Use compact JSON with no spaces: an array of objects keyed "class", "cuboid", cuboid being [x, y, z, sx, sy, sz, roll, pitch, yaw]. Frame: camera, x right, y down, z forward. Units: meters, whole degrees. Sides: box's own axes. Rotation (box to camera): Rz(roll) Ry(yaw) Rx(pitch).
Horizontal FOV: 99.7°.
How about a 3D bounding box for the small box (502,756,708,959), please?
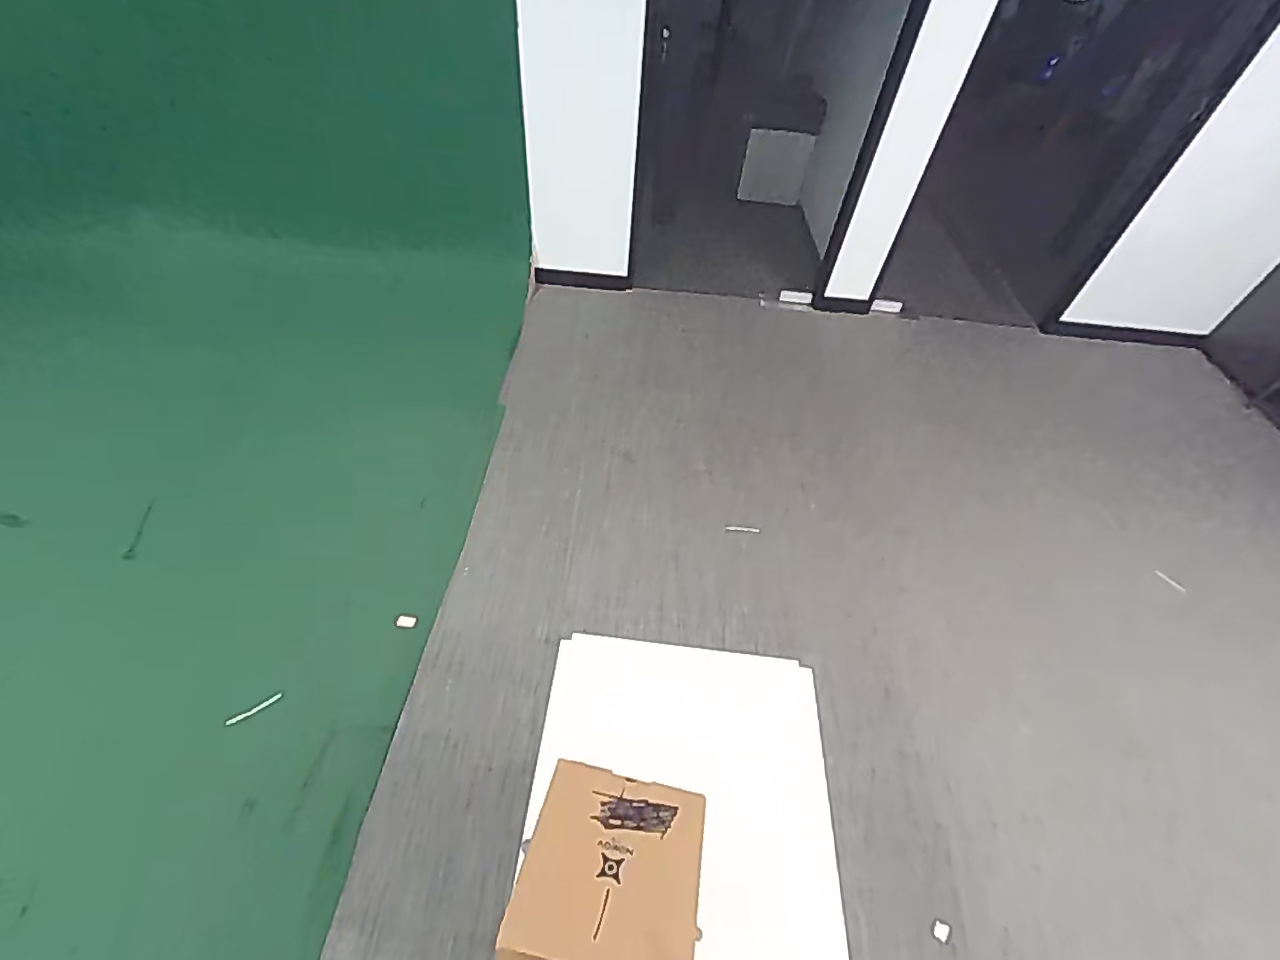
[{"class":"small box","cuboid":[-0.033,0.427,0.549,0.168,0.176,0.179,11,28,6]}]
